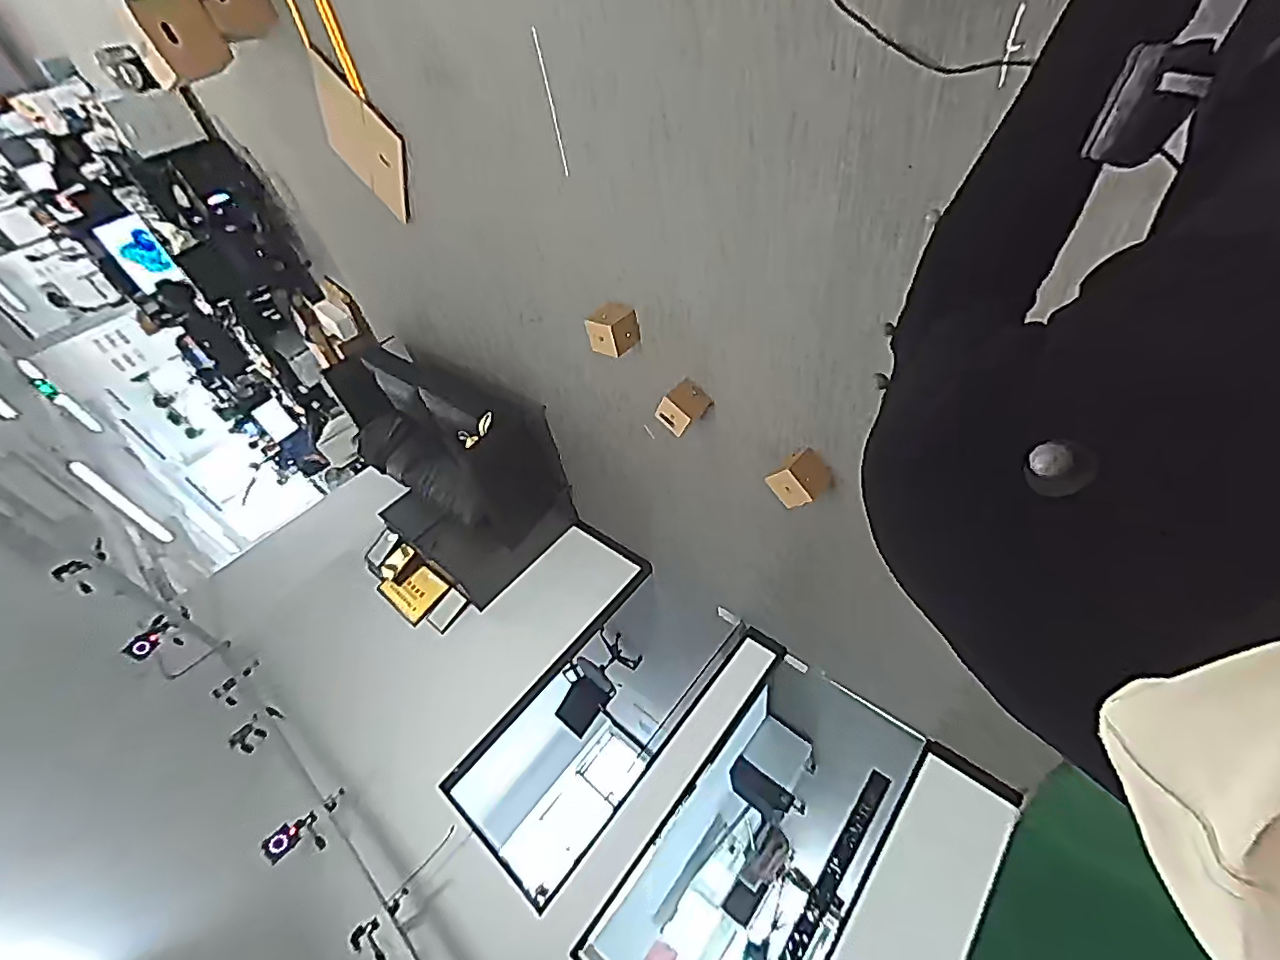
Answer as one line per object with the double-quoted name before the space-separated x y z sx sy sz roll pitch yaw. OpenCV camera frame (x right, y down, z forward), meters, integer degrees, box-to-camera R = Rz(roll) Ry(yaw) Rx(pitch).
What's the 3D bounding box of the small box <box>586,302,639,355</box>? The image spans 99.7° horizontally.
"small box" -0.119 -0.717 2.536 0.179 0.176 0.168 26 146 35
